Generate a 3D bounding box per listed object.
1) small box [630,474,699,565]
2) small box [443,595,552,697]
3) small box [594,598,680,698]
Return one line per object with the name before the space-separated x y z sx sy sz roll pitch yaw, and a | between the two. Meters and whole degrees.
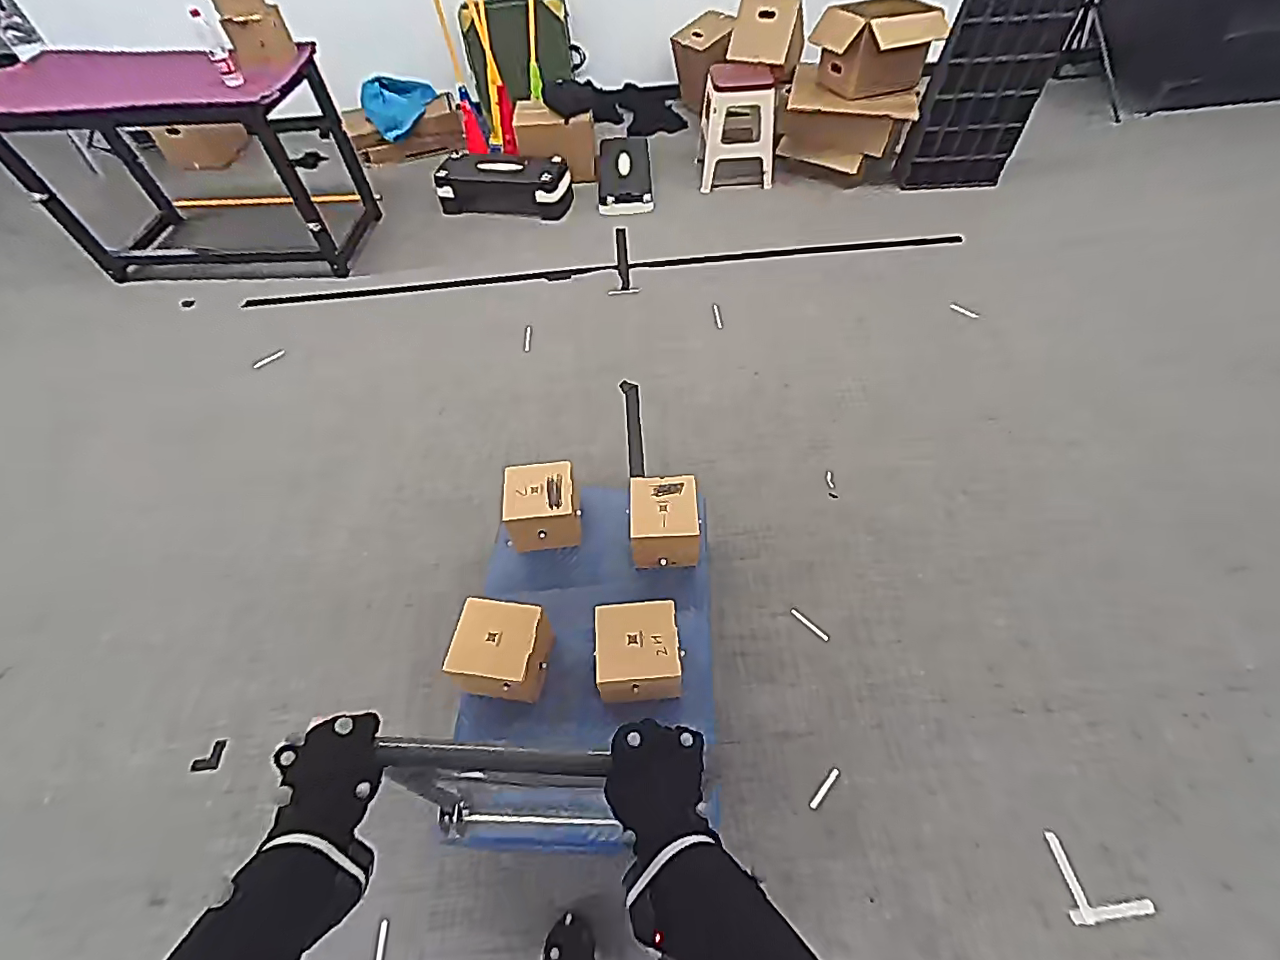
small box | 0.060 0.103 1.387 0.168 0.176 0.179 -2 56 2
small box | -0.309 0.376 1.213 0.179 0.176 0.168 6 55 6
small box | -0.005 0.376 1.197 0.179 0.176 0.168 -4 55 0
